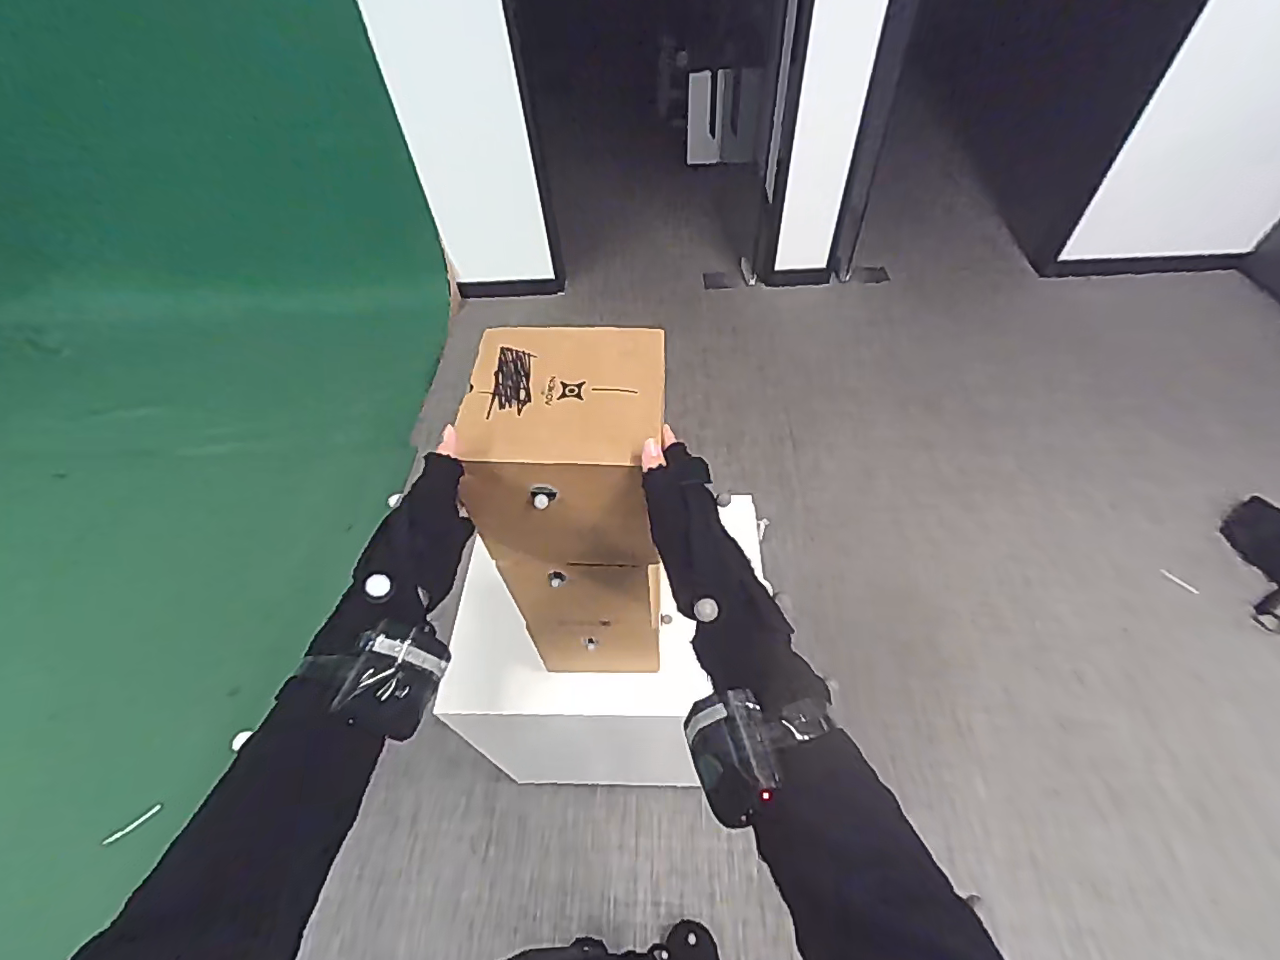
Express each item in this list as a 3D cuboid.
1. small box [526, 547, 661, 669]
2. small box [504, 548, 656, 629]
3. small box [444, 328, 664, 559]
[{"bbox_3d":[-0.059,0.178,0.818,0.179,0.176,0.168,0,52,2],"label":"small box"},{"bbox_3d":[-0.064,0.075,0.694,0.168,0.176,0.179,-1,52,2],"label":"small box"},{"bbox_3d":[-0.066,-0.031,0.541,0.179,0.176,0.168,2,54,3],"label":"small box"}]
